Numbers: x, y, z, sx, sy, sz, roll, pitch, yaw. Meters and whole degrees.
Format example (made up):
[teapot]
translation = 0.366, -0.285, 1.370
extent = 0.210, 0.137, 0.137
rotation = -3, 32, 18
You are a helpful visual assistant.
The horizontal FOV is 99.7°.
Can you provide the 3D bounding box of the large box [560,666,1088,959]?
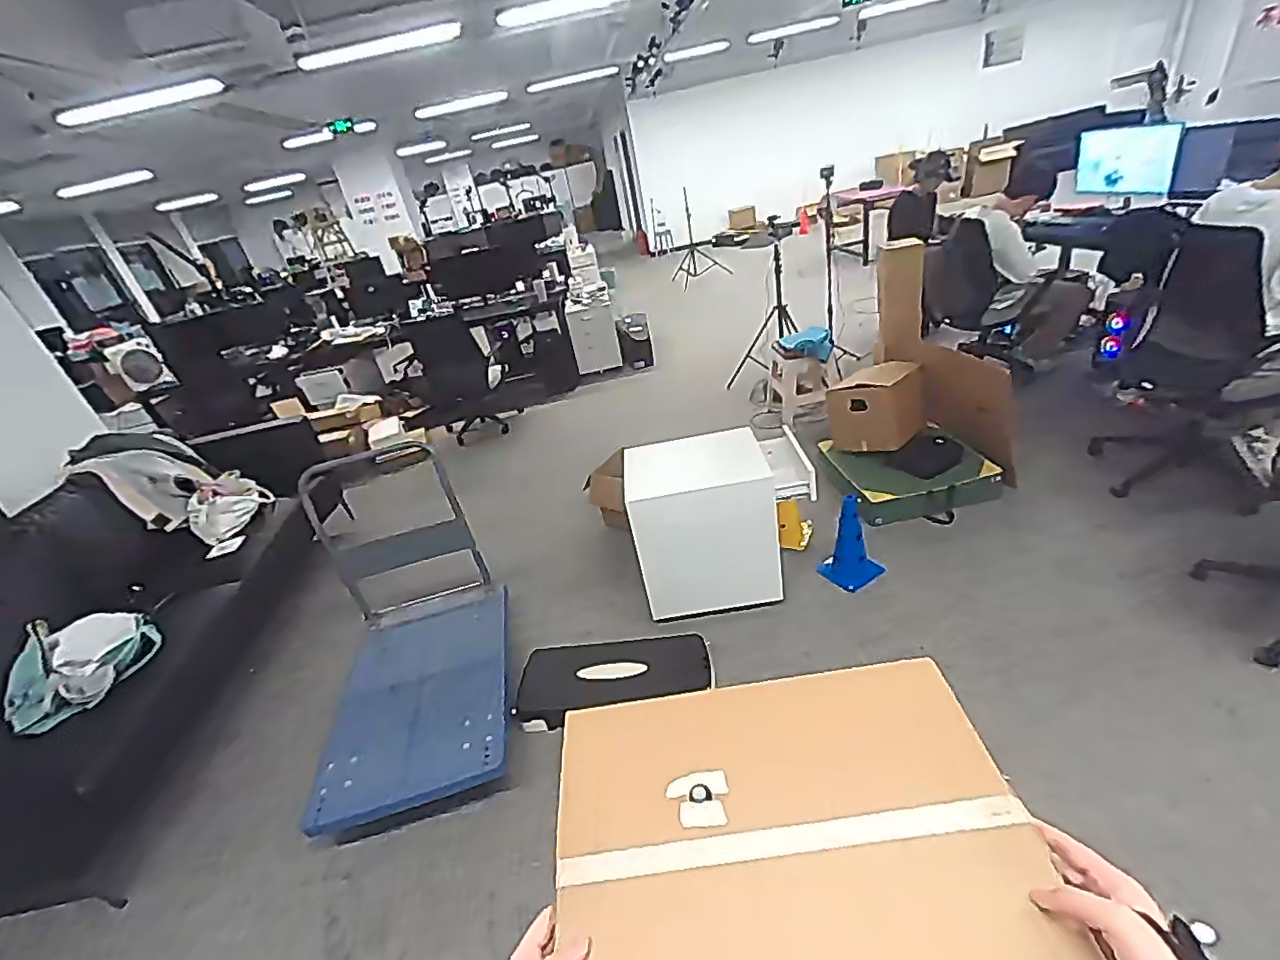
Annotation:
[large box]
translation = 0.155, 0.446, 0.565
extent = 0.408, 0.320, 0.320
rotation = -12, 36, 4
